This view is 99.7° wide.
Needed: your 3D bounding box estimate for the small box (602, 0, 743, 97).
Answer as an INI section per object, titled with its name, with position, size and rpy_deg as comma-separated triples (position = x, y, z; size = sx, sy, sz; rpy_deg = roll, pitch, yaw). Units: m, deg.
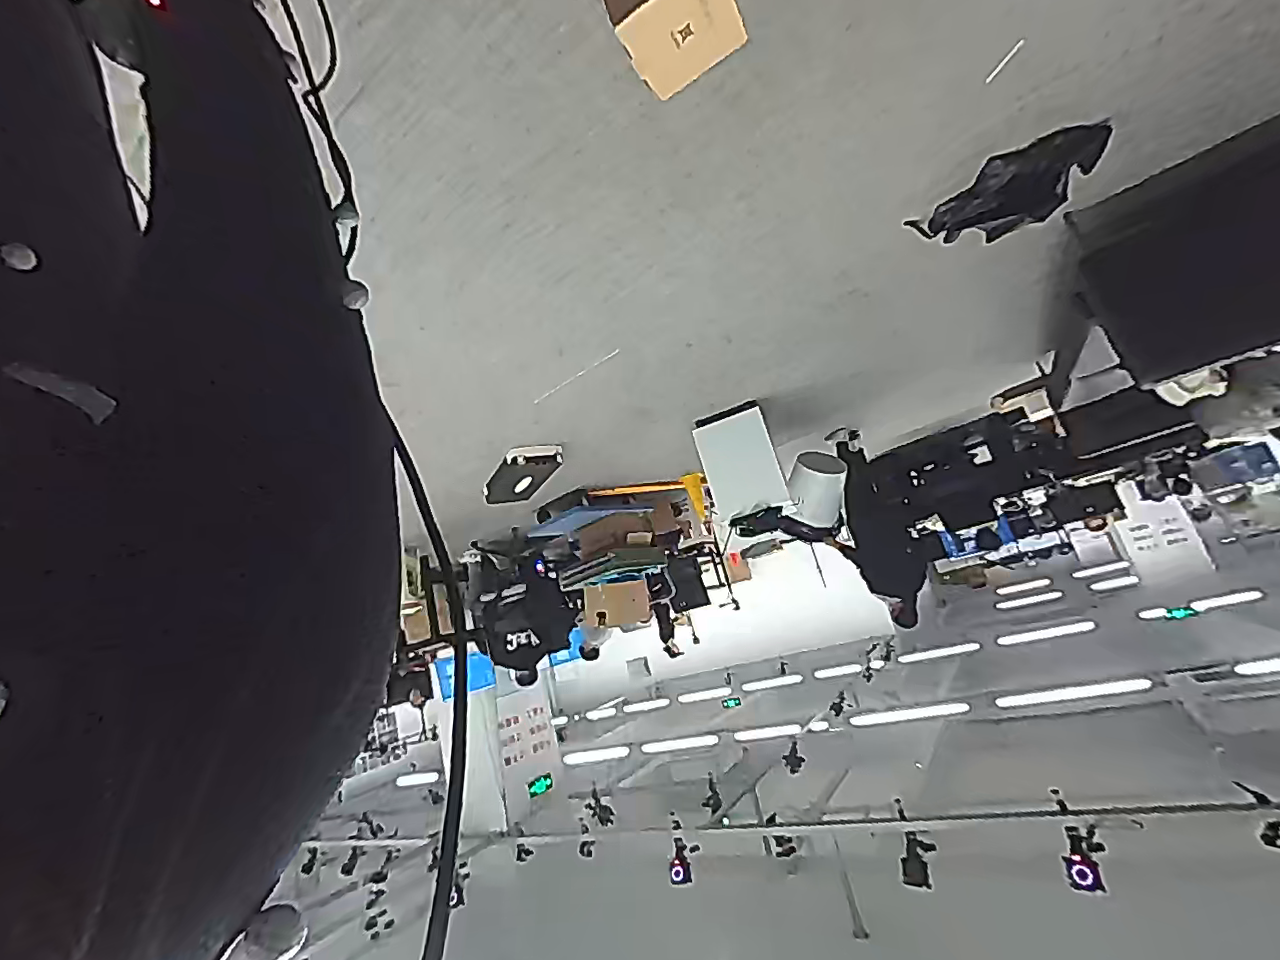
[small box]
position = 0.040, -0.788, 0.870
size = 0.179, 0.176, 0.168
rpy_deg = -23, 166, 24
